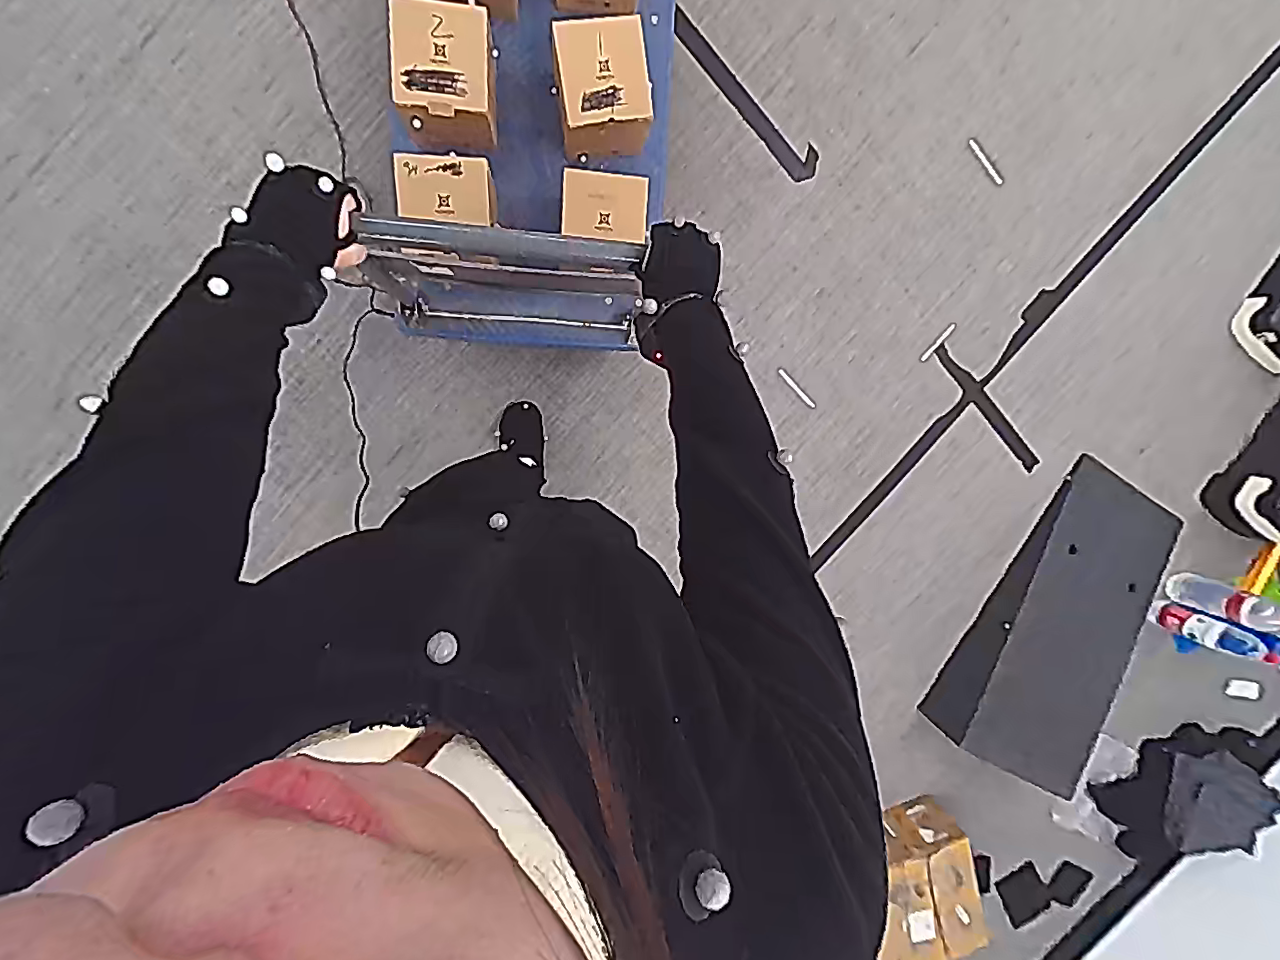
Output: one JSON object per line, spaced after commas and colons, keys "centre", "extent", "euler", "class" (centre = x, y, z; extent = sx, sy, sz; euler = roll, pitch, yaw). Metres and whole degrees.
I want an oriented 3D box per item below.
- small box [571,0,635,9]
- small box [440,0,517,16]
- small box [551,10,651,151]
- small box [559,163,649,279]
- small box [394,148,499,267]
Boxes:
{"centre": [-0.080, -1.048, 1.027], "extent": [0.168, 0.176, 0.179], "euler": [-1, 101, -9], "class": "small box"}
{"centre": [-0.311, -1.018, 0.994], "extent": [0.168, 0.176, 0.179], "euler": [4, 101, -10], "class": "small box"}
{"centre": [-0.080, -0.780, 1.077], "extent": [0.168, 0.176, 0.179], "euler": [-10, 101, -7], "class": "small box"}
{"centre": [-0.081, -0.526, 1.126], "extent": [0.168, 0.176, 0.179], "euler": [2, 100, -10], "class": "small box"}
{"centre": [-0.375, -0.530, 1.077], "extent": [0.168, 0.176, 0.179], "euler": [-2, 101, -10], "class": "small box"}
